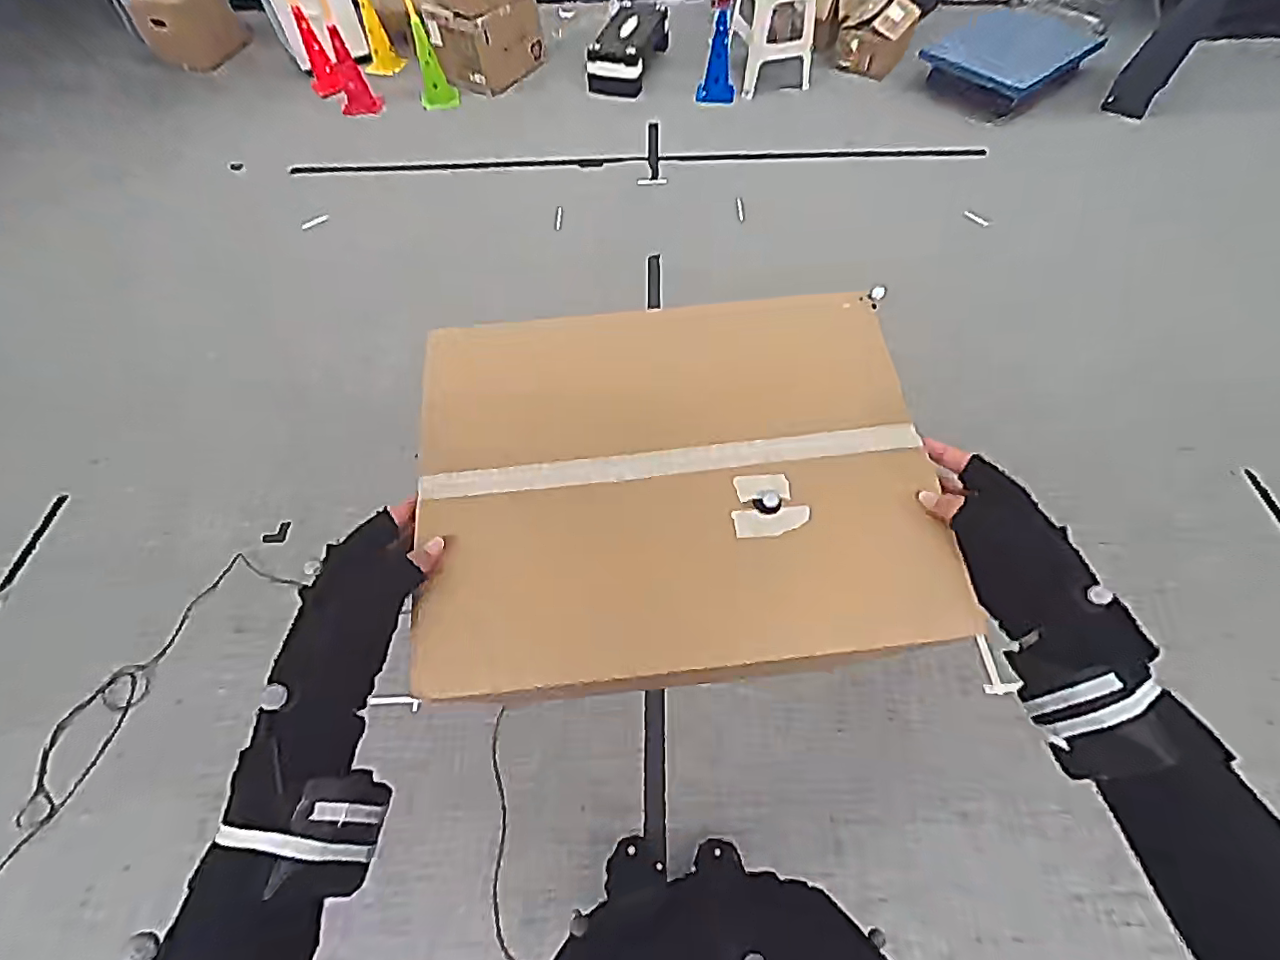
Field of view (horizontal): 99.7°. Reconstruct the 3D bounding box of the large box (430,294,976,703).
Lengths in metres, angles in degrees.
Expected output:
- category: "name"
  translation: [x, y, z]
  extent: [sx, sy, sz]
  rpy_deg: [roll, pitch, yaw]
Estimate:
- category: "large box"
  translation: [0.030, 0.045, 0.577]
  extent: [0.408, 0.320, 0.320]
  rpy_deg: [-6, 68, -3]
